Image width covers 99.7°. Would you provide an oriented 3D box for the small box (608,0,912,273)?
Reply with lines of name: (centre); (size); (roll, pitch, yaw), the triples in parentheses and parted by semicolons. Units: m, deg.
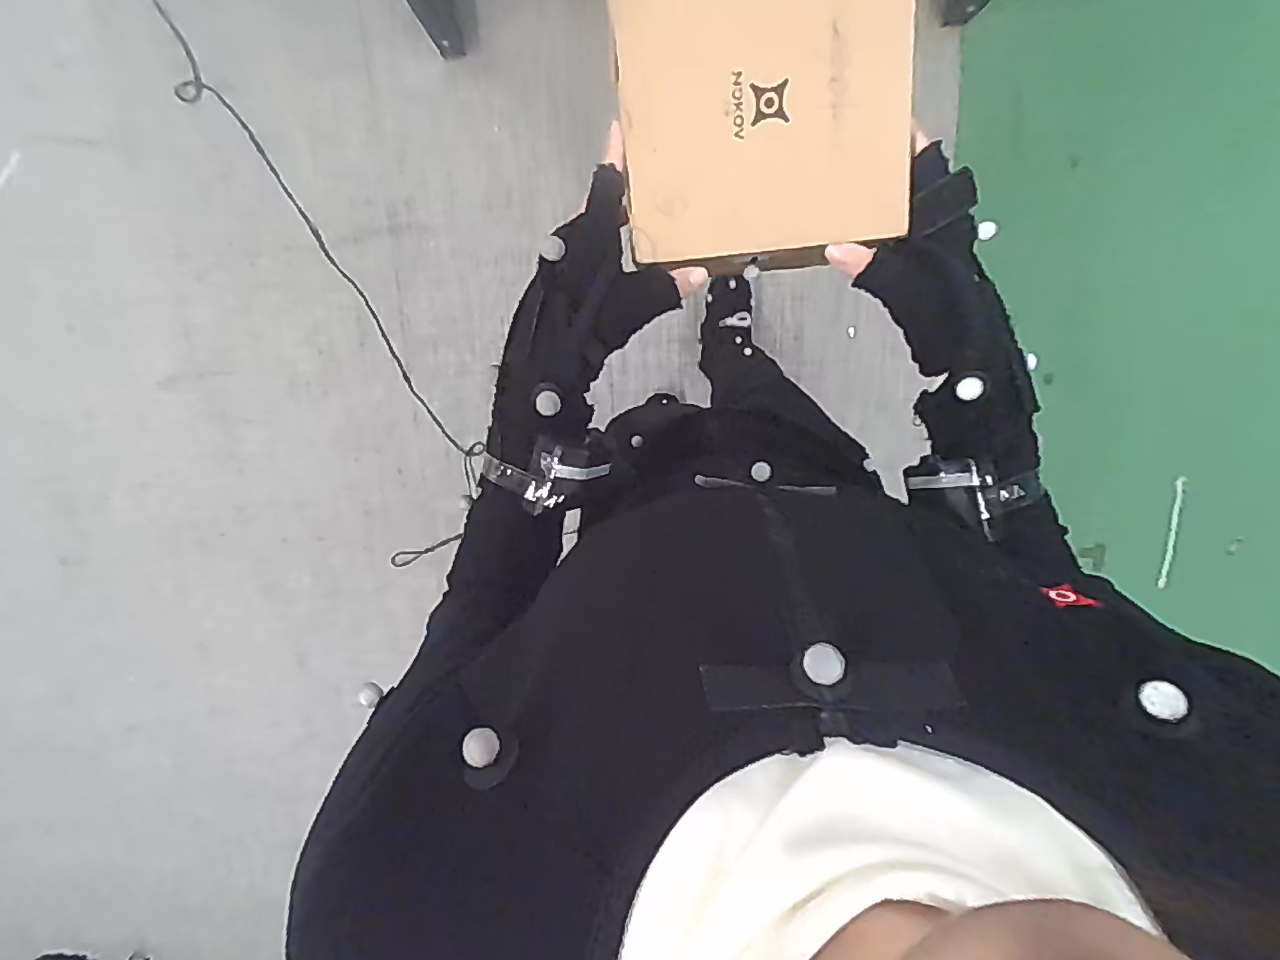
small box: (0.078, -0.256, 0.405); (0.179, 0.176, 0.168); (-6, 107, 3)
